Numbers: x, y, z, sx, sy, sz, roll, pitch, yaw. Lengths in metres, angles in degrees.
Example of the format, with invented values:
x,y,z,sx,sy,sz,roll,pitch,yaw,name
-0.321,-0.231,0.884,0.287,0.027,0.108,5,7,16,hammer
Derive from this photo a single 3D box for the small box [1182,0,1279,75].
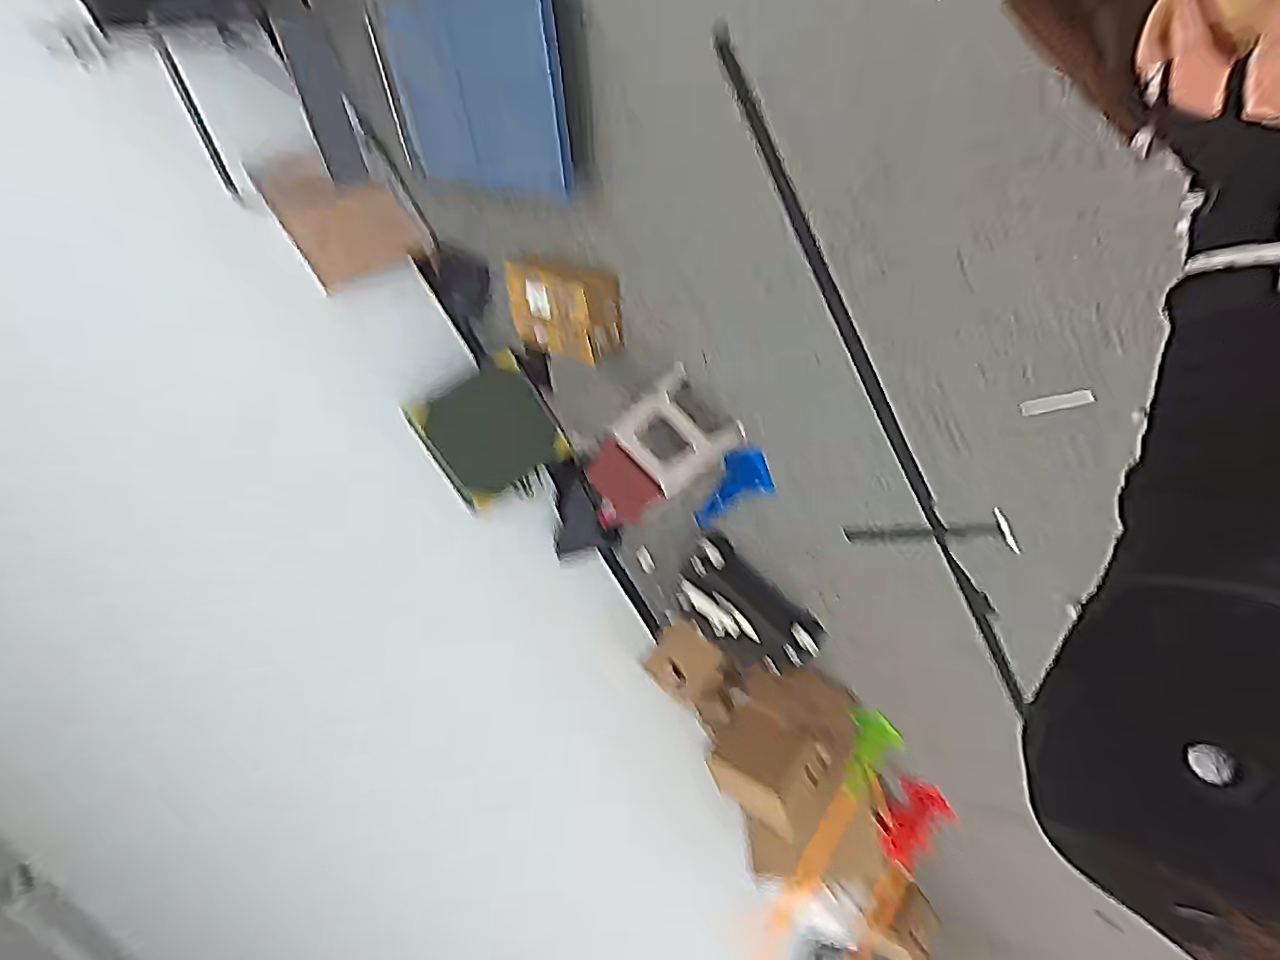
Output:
x,y,z,sx,sy,sz,roll,pitch,yaw,name
0.439,-0.409,0.331,0.168,0.176,0.179,-17,120,48,small box
